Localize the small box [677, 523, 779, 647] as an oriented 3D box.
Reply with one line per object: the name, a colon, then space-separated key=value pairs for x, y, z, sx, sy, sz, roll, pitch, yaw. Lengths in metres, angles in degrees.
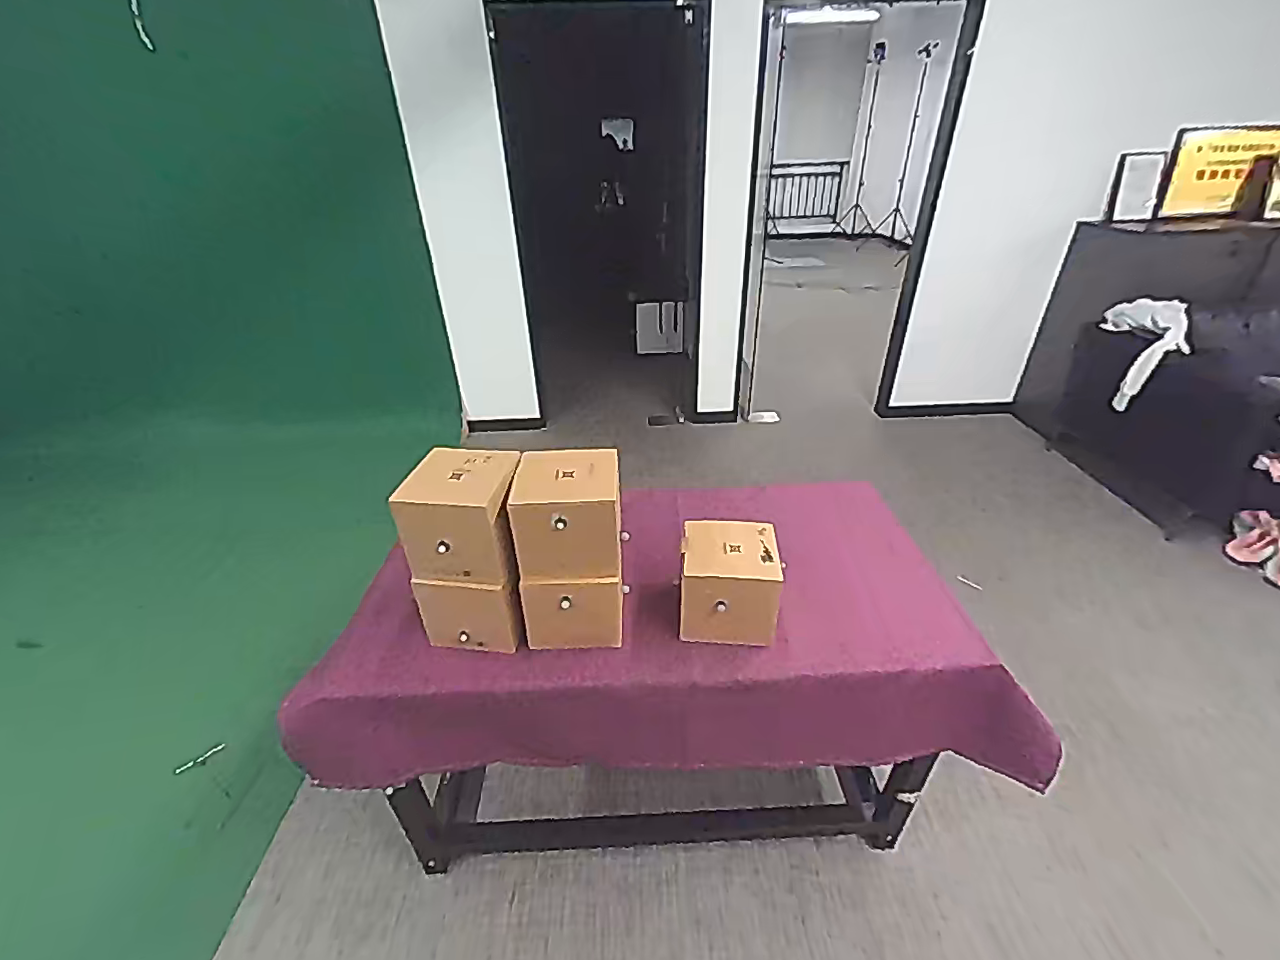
small box: x=0.162 y=0.199 z=1.033 sx=0.179 sy=0.176 sz=0.168 roll=2 pitch=32 yaw=5
